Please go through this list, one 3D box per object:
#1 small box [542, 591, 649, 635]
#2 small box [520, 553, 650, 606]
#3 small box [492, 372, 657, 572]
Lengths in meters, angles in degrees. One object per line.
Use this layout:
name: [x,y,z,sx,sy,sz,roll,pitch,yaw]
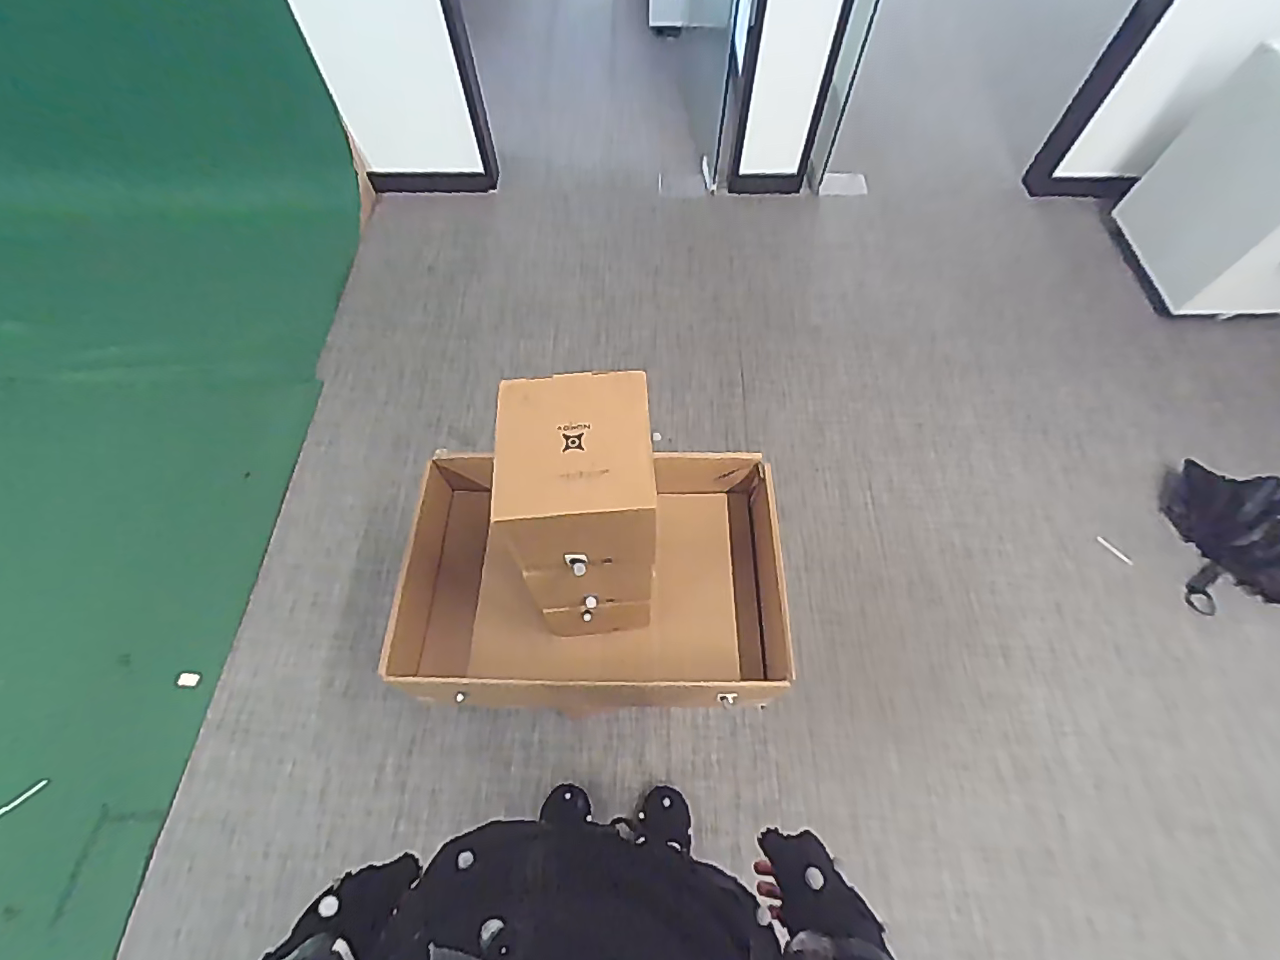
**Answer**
small box: [-0.074,0.152,0.928,0.168,0.176,0.179,-6,61,-1]
small box: [-0.075,0.072,0.785,0.168,0.176,0.179,-4,62,-2]
small box: [-0.069,-0.004,0.643,0.168,0.176,0.179,-5,63,0]
